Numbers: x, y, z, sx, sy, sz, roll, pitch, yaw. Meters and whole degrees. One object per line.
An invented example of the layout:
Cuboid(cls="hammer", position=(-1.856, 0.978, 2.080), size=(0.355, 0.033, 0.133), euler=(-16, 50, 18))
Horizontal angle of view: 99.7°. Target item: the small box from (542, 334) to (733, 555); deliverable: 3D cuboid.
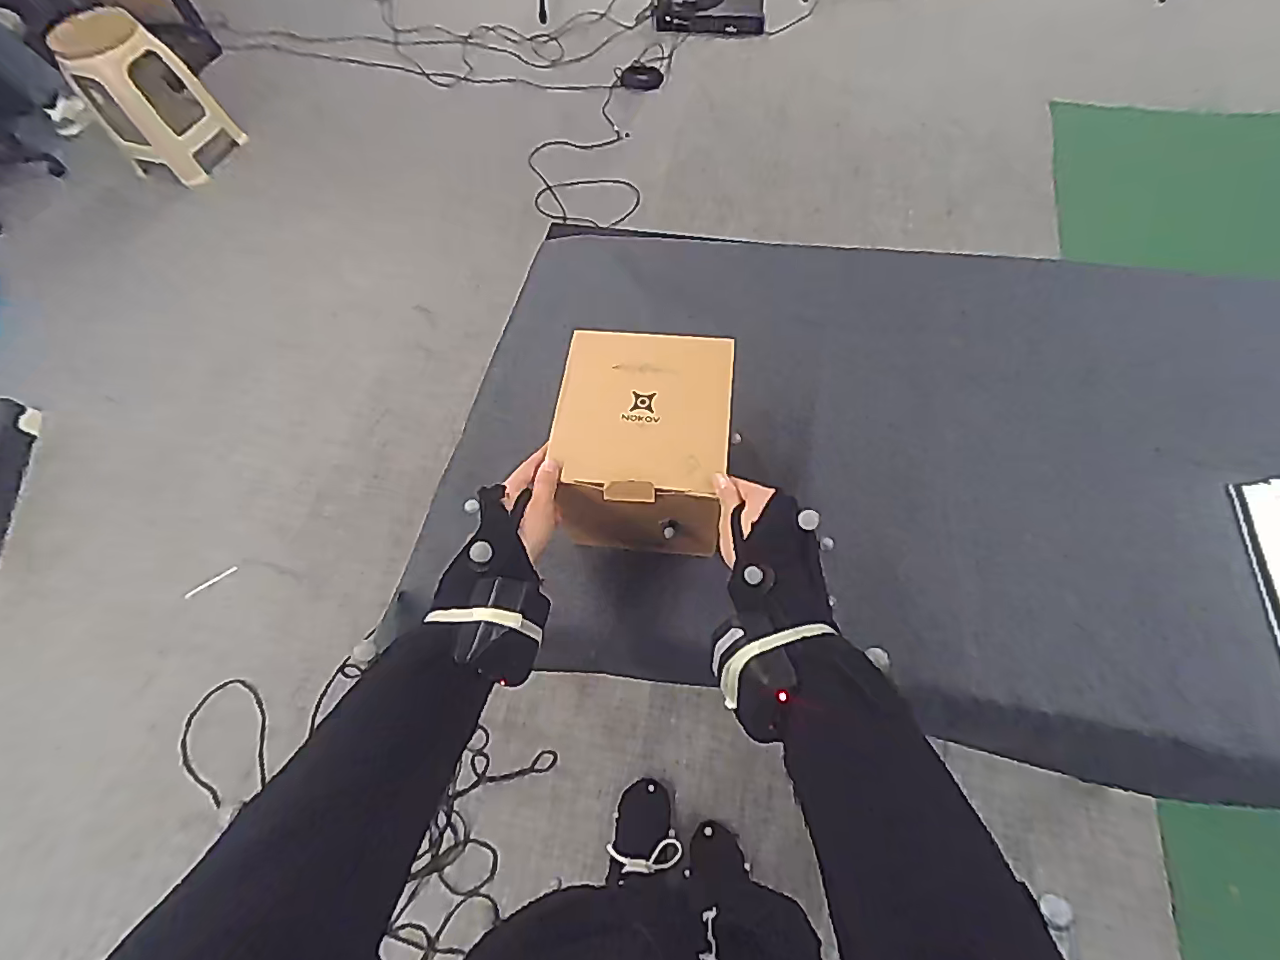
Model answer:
Cuboid(cls="small box", position=(0.007, -0.030, 0.581), size=(0.168, 0.176, 0.179), euler=(5, 62, 5))
